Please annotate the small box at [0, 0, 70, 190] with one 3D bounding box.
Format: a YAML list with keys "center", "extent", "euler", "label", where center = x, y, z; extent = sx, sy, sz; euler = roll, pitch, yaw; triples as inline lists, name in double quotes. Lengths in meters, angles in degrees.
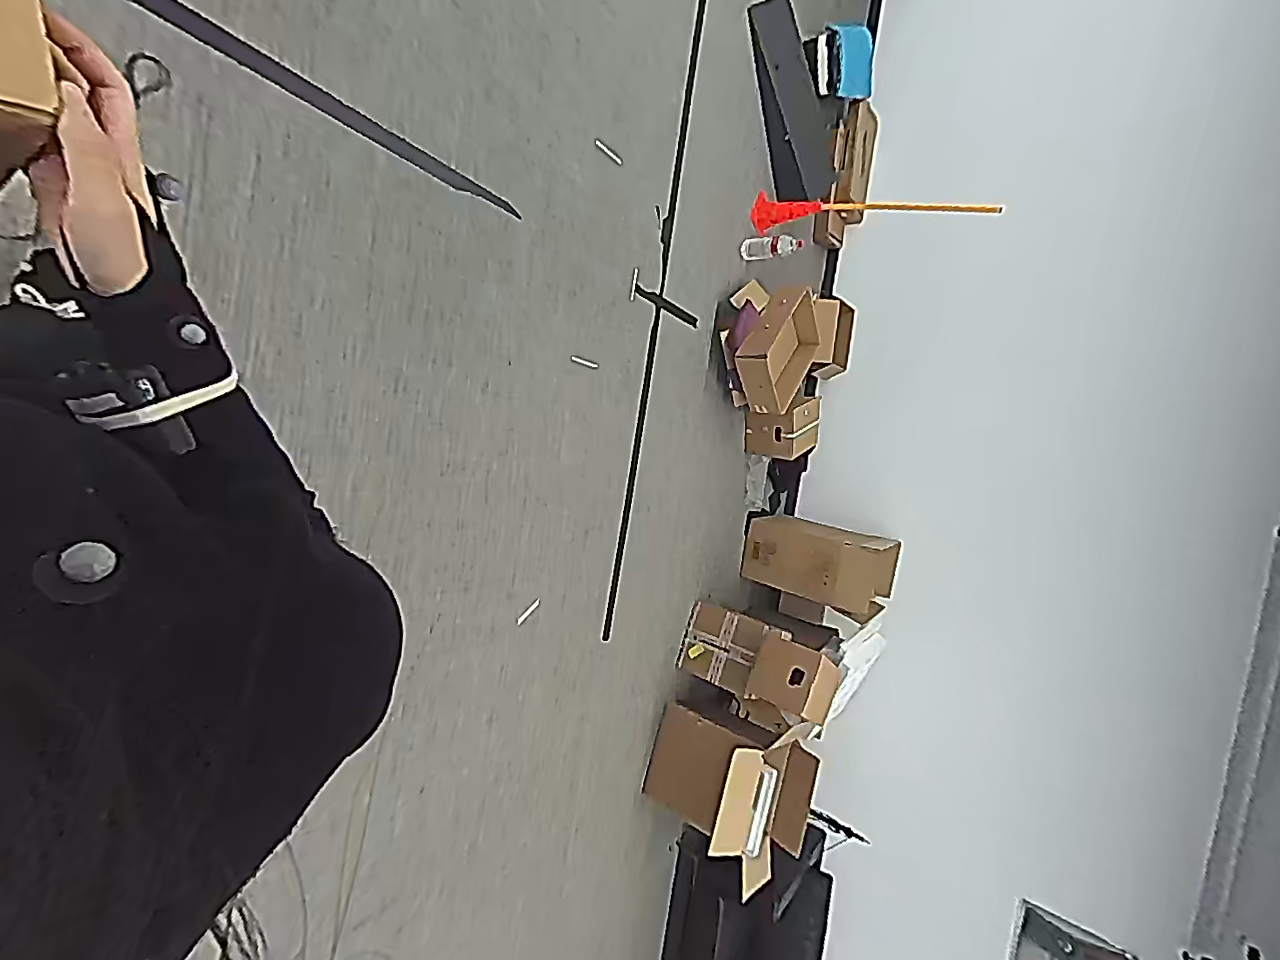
- center: [-0.395, -0.248, 0.232]
  extent: [0.168, 0.176, 0.179]
  euler: [-17, 108, -56]
  label: "small box"
